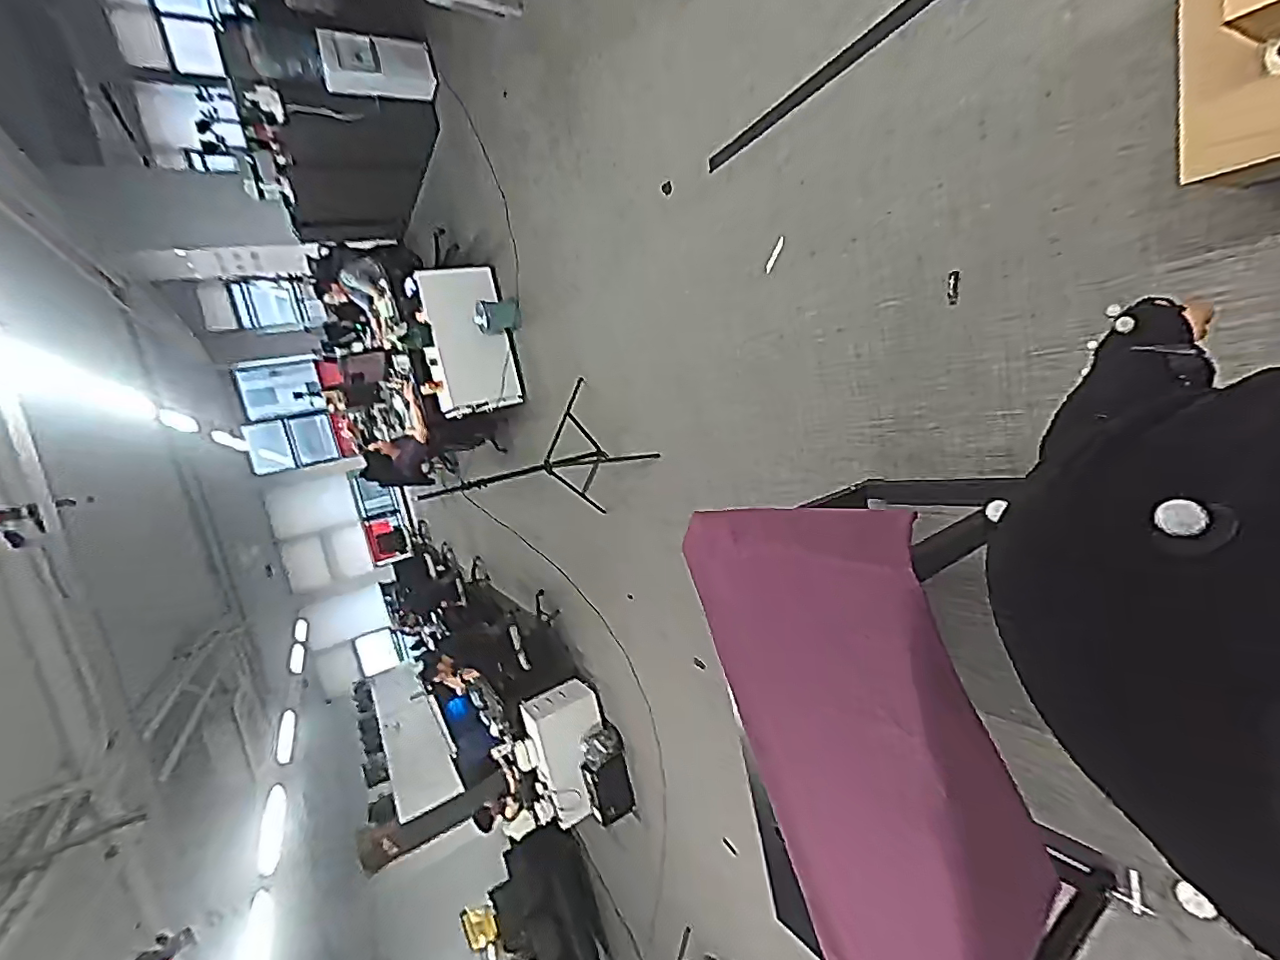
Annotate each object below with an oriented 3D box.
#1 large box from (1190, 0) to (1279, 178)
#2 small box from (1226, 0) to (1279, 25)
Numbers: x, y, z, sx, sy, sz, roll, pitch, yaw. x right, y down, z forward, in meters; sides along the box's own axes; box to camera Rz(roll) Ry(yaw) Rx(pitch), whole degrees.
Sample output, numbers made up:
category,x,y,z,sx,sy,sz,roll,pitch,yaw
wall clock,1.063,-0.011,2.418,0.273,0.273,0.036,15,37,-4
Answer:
category,x,y,z,sx,sy,sz,roll,pitch,yaw
large box,1.014,-0.684,0.734,0.320,0.320,0.408,7,112,60
small box,0.807,-0.651,0.599,0.179,0.176,0.168,13,117,57
